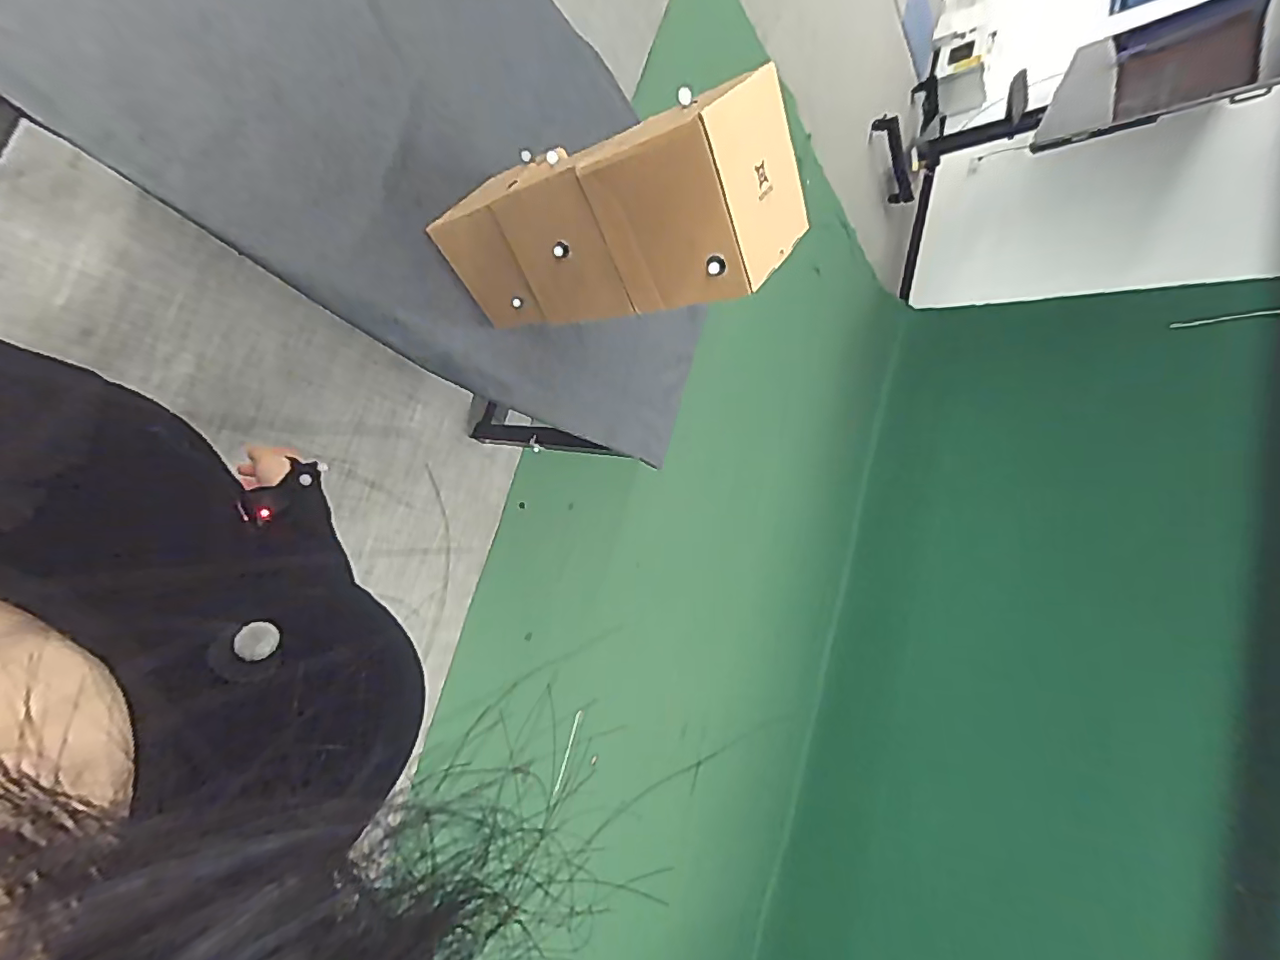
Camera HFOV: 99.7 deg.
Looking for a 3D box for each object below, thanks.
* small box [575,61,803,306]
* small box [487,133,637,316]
[{"bbox_3d":[0.058,-0.317,0.605,0.168,0.176,0.179,-52,132,-31],"label":"small box"},{"bbox_3d":[-0.063,-0.331,0.713,0.168,0.176,0.179,-50,129,-33],"label":"small box"}]
